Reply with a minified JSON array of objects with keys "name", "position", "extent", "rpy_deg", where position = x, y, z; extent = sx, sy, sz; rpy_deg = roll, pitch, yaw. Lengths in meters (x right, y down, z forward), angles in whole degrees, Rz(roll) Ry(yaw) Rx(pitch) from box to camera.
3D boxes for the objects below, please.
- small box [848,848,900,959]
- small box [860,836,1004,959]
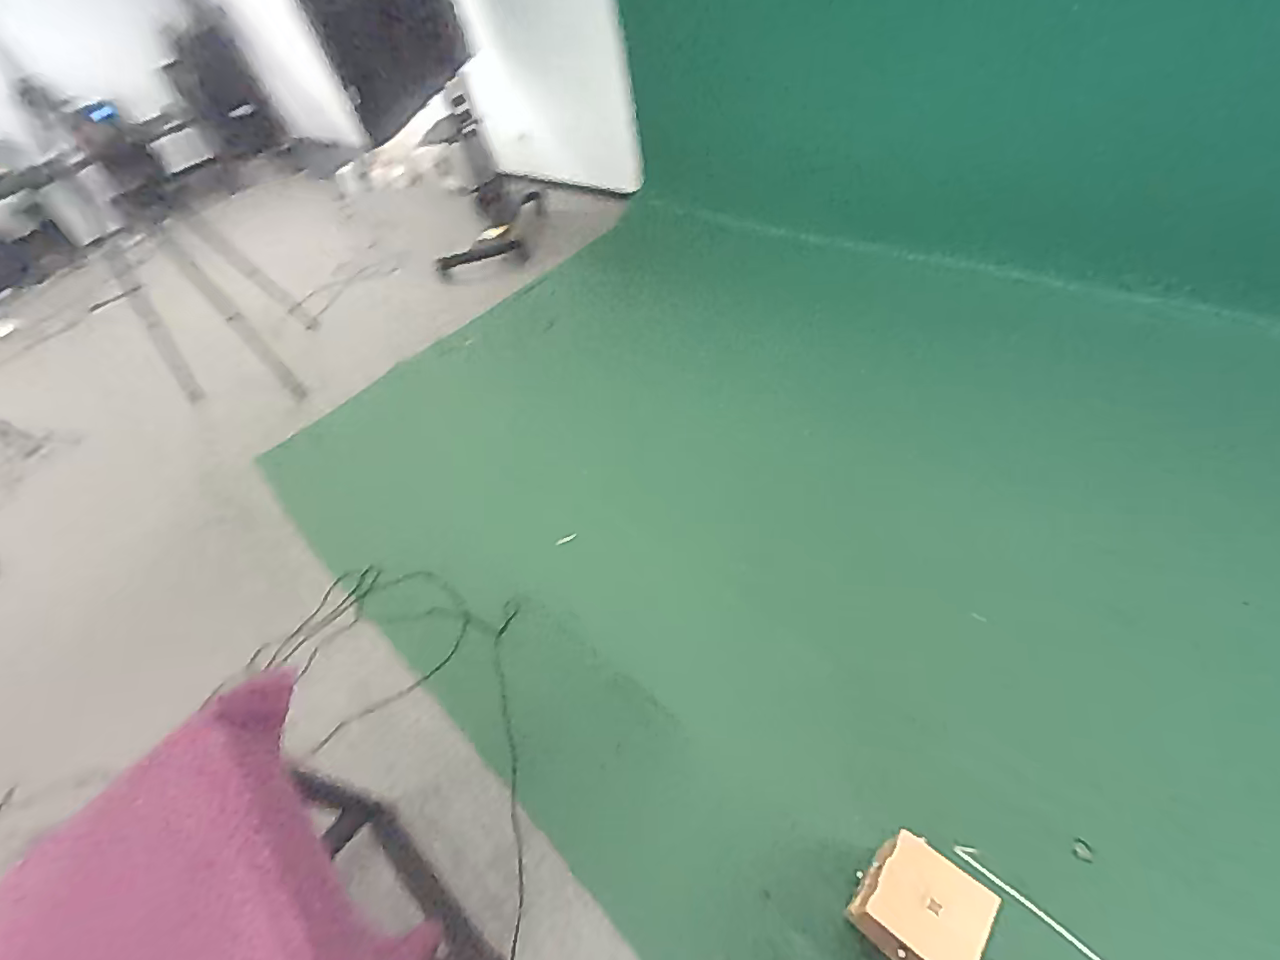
[{"name":"small box","position":[0.563,0.924,1.140],"extent":[0.179,0.176,0.168],"rpy_deg":[30,62,34]},{"name":"small box","position":[0.538,0.819,1.018],"extent":[0.179,0.176,0.168],"rpy_deg":[27,60,33]}]
